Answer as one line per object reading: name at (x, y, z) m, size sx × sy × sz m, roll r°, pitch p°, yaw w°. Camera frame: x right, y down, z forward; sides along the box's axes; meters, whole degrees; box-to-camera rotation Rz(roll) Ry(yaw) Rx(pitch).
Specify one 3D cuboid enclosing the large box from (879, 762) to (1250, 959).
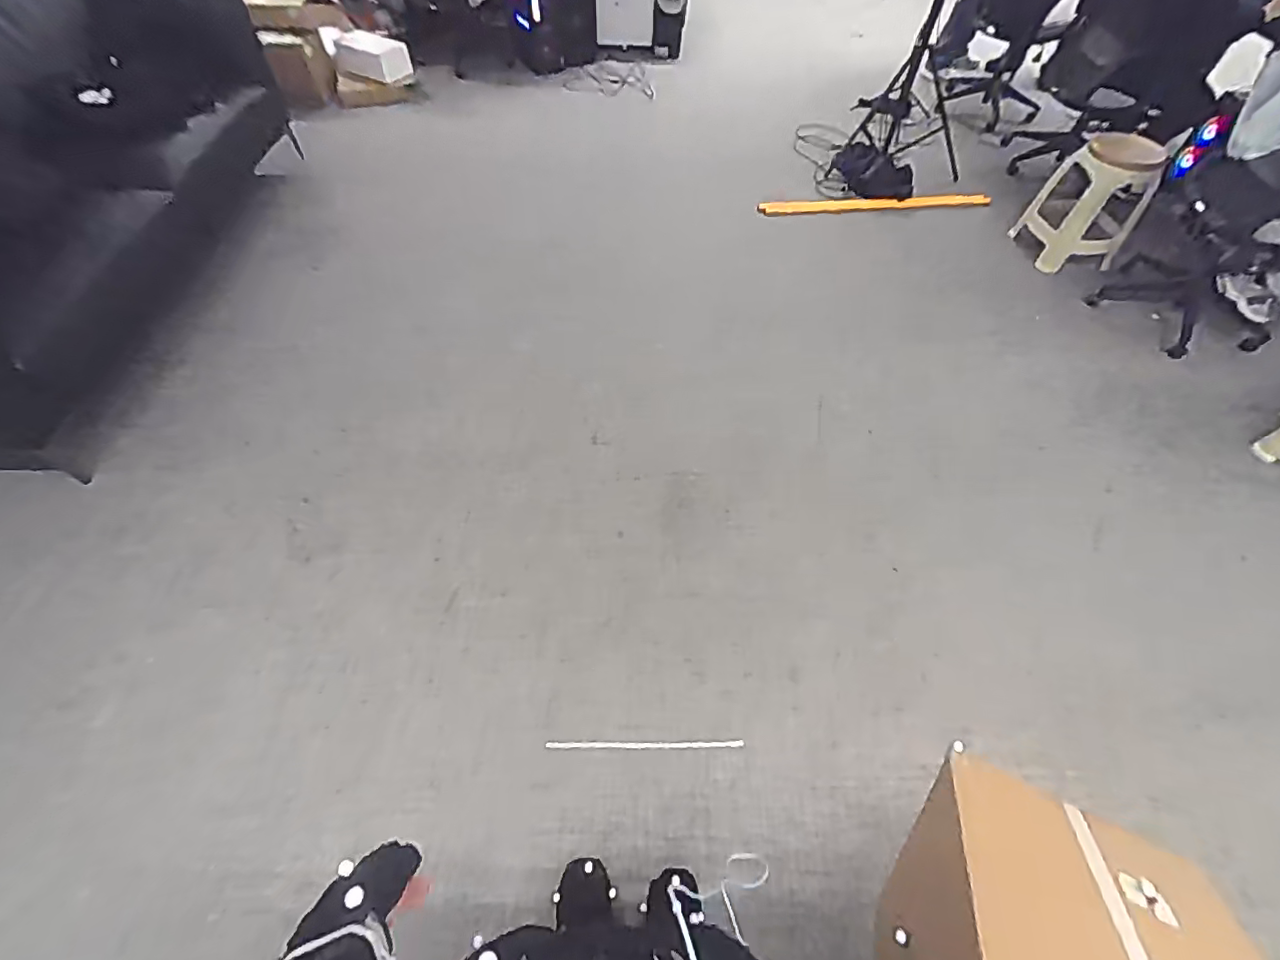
large box at (0.483, 0.638, 0.623) m, size 0.320 × 0.320 × 0.408 m, roll 22°, pitch 14°, yaw 21°
